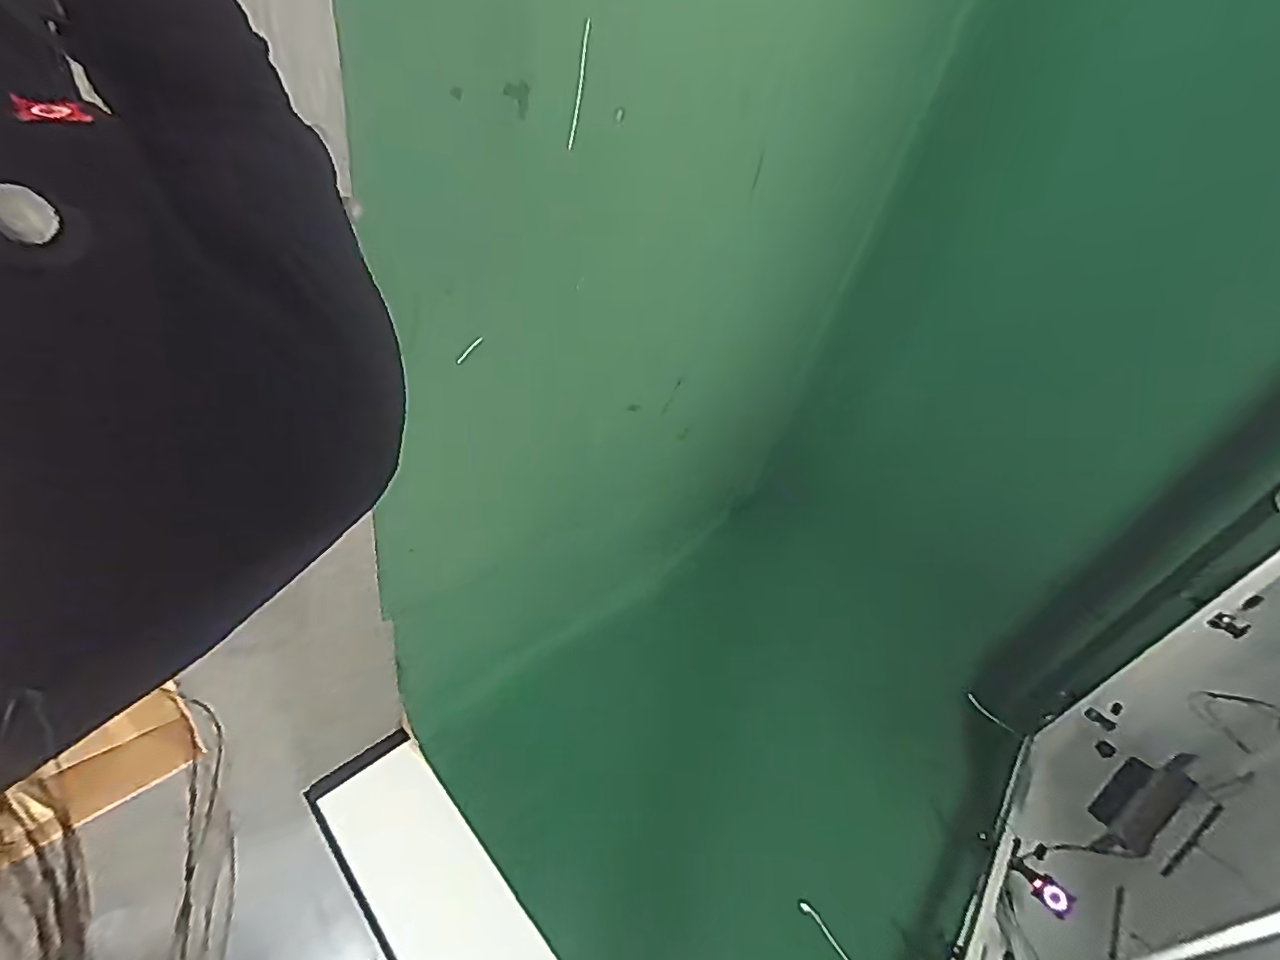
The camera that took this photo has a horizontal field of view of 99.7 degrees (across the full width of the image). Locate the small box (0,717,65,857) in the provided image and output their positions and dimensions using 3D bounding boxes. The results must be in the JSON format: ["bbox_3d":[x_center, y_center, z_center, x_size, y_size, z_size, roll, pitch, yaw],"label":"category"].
[{"bbox_3d":[-1.151,0.546,0.926,0.168,0.176,0.179,-29,145,-38],"label":"small box"}]
